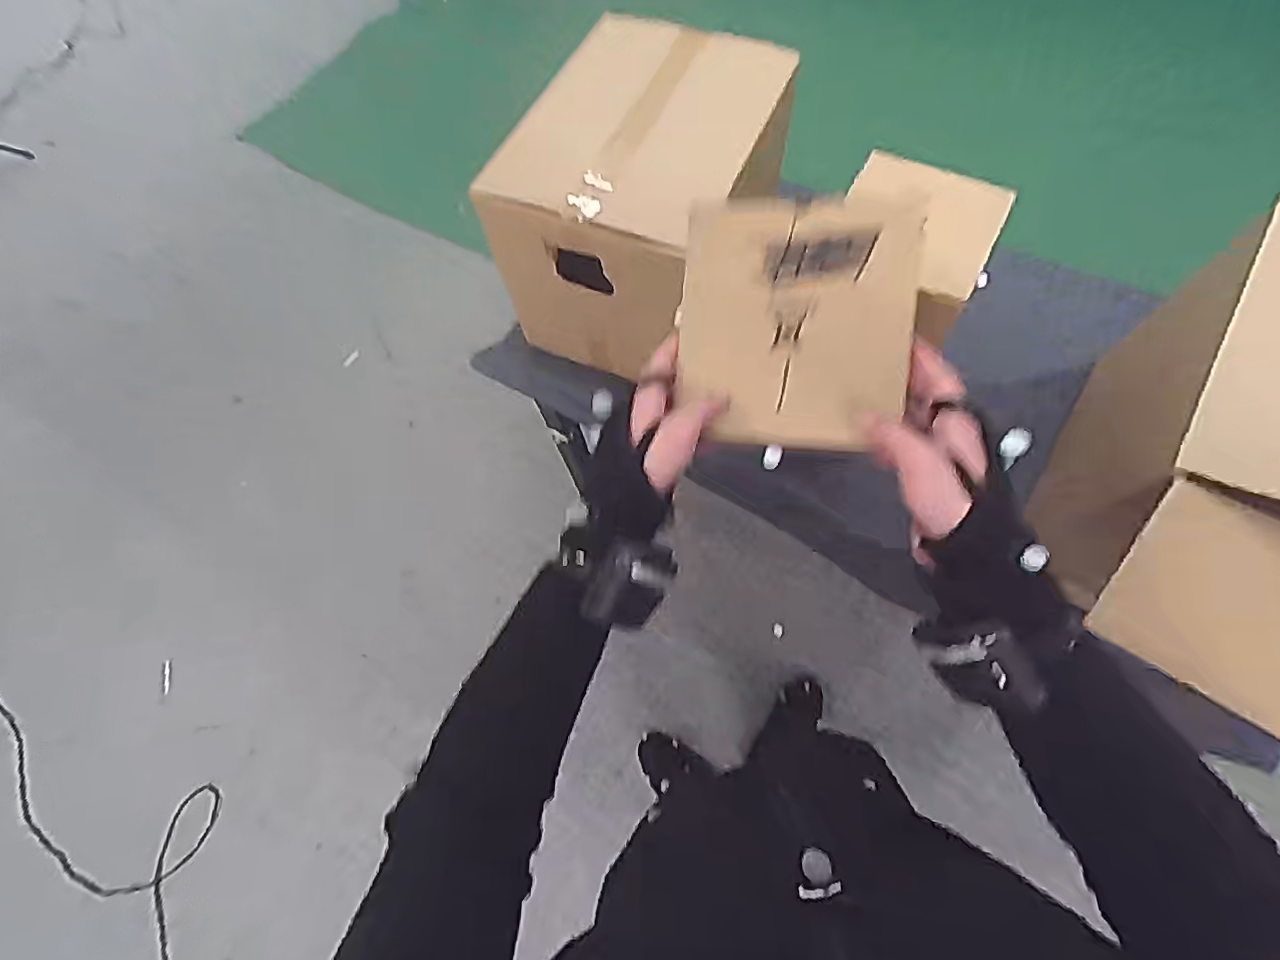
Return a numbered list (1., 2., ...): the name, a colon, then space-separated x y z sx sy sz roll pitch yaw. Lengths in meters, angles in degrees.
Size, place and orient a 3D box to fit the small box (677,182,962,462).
1. small box: 0.132 -0.110 0.434 0.168 0.176 0.179 6 95 15
